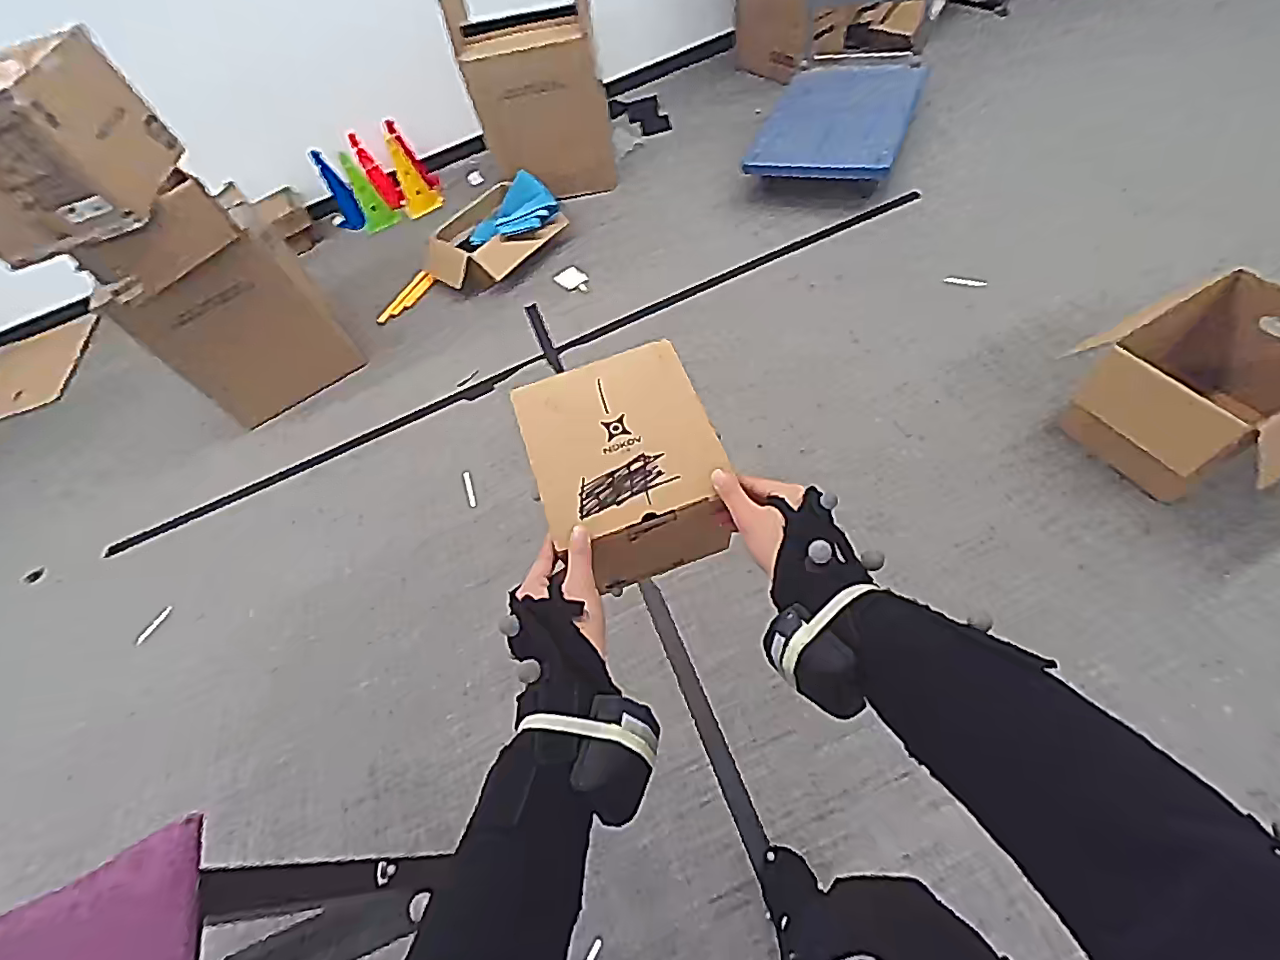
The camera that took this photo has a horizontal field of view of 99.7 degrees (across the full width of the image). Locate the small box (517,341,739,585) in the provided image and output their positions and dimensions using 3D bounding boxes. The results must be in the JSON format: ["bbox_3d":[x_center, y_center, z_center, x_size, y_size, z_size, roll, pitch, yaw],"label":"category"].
[{"bbox_3d":[-0.009,-0.004,0.562,0.168,0.176,0.179,-19,63,-4],"label":"small box"}]
